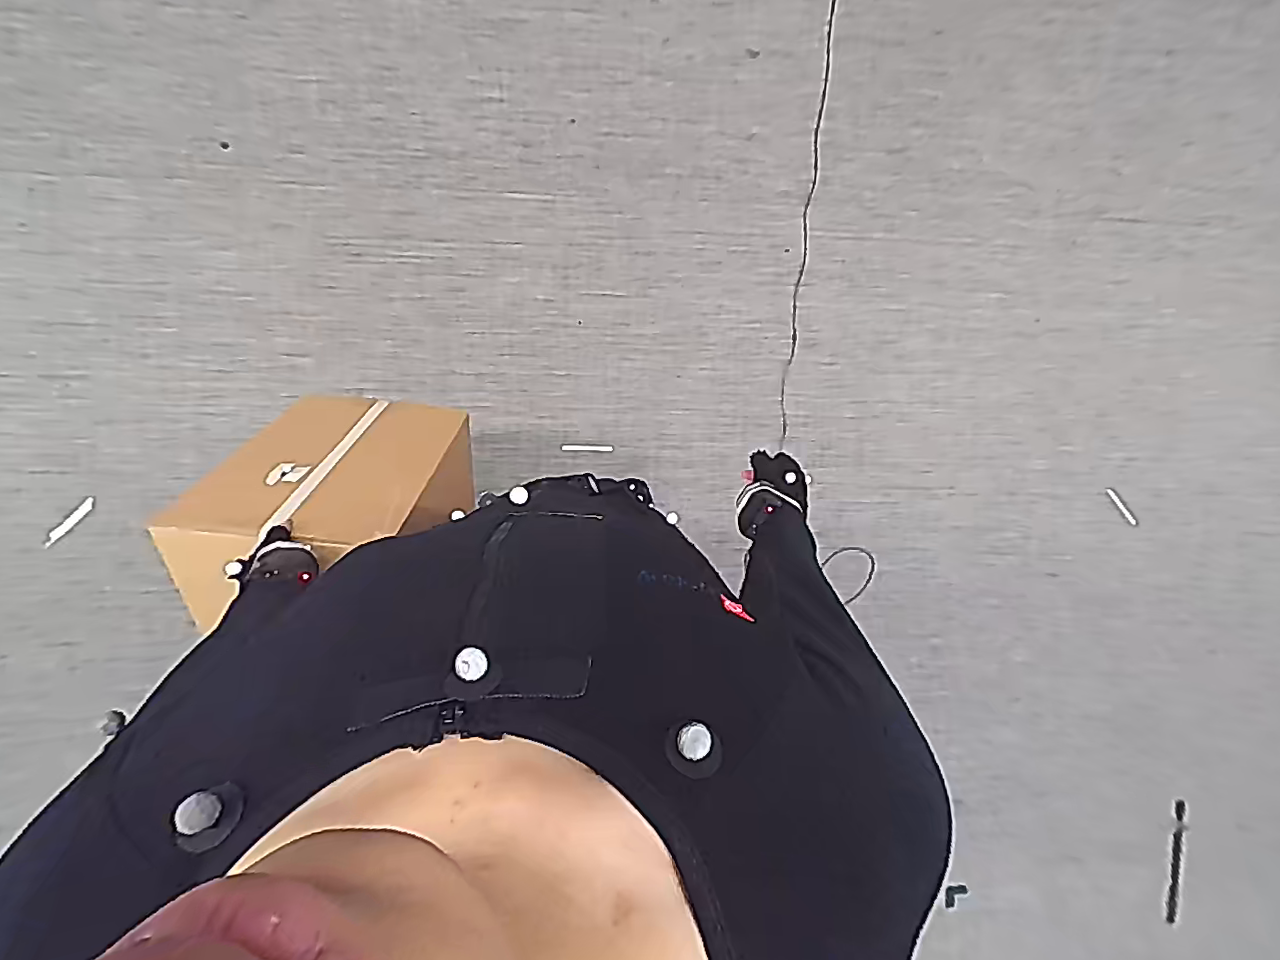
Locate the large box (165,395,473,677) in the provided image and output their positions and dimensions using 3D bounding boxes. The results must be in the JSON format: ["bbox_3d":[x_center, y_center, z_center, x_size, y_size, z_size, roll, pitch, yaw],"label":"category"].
[{"bbox_3d":[-0.512,0.085,0.985,0.320,0.408,0.320,5,125,-2],"label":"large box"}]
